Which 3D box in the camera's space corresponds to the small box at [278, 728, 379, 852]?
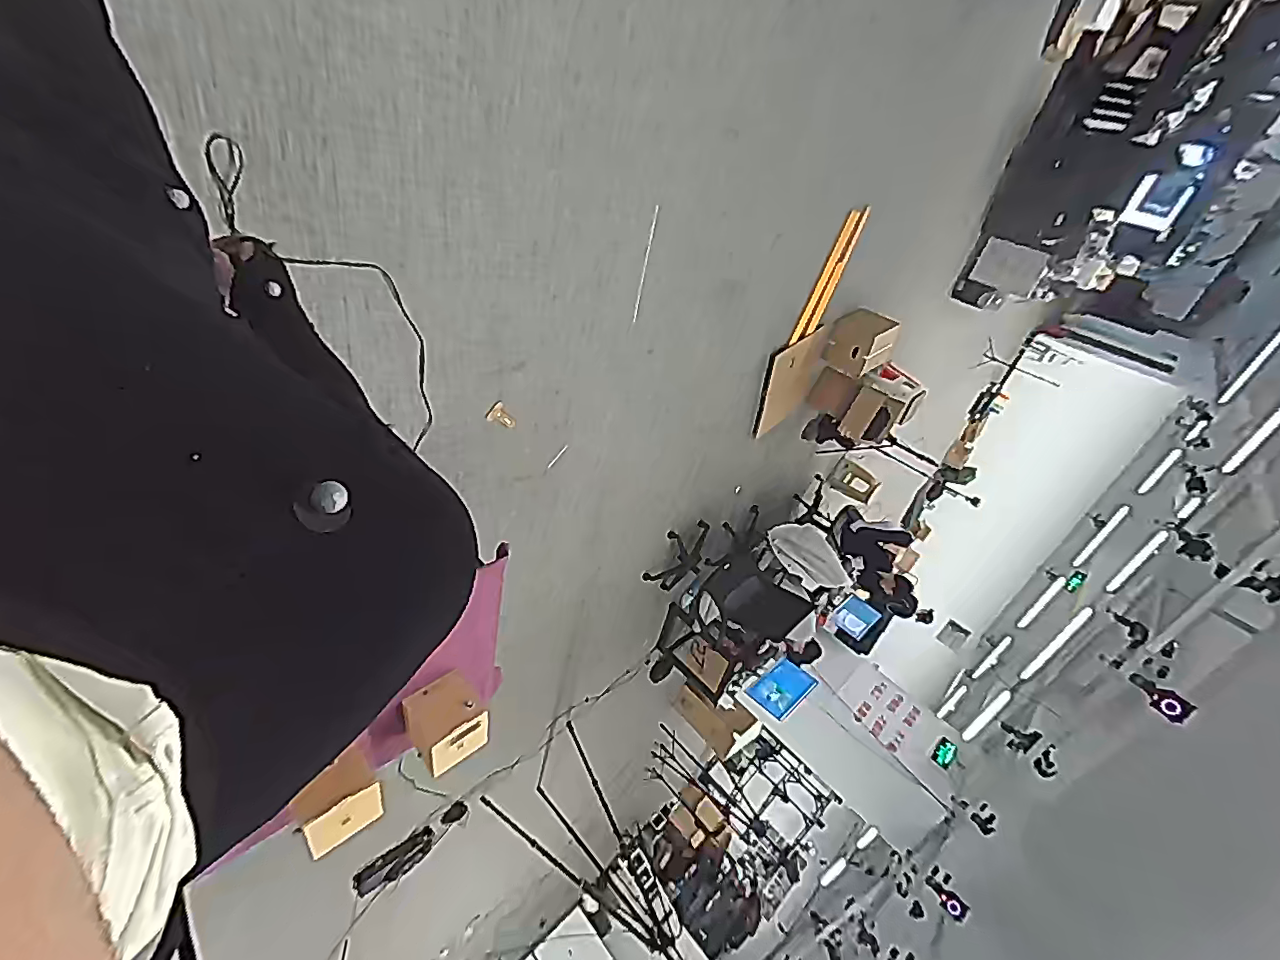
[{"bbox_3d":[-0.766,0.757,1.336,0.168,0.176,0.179,-21,137,-40],"label":"small box"}]
